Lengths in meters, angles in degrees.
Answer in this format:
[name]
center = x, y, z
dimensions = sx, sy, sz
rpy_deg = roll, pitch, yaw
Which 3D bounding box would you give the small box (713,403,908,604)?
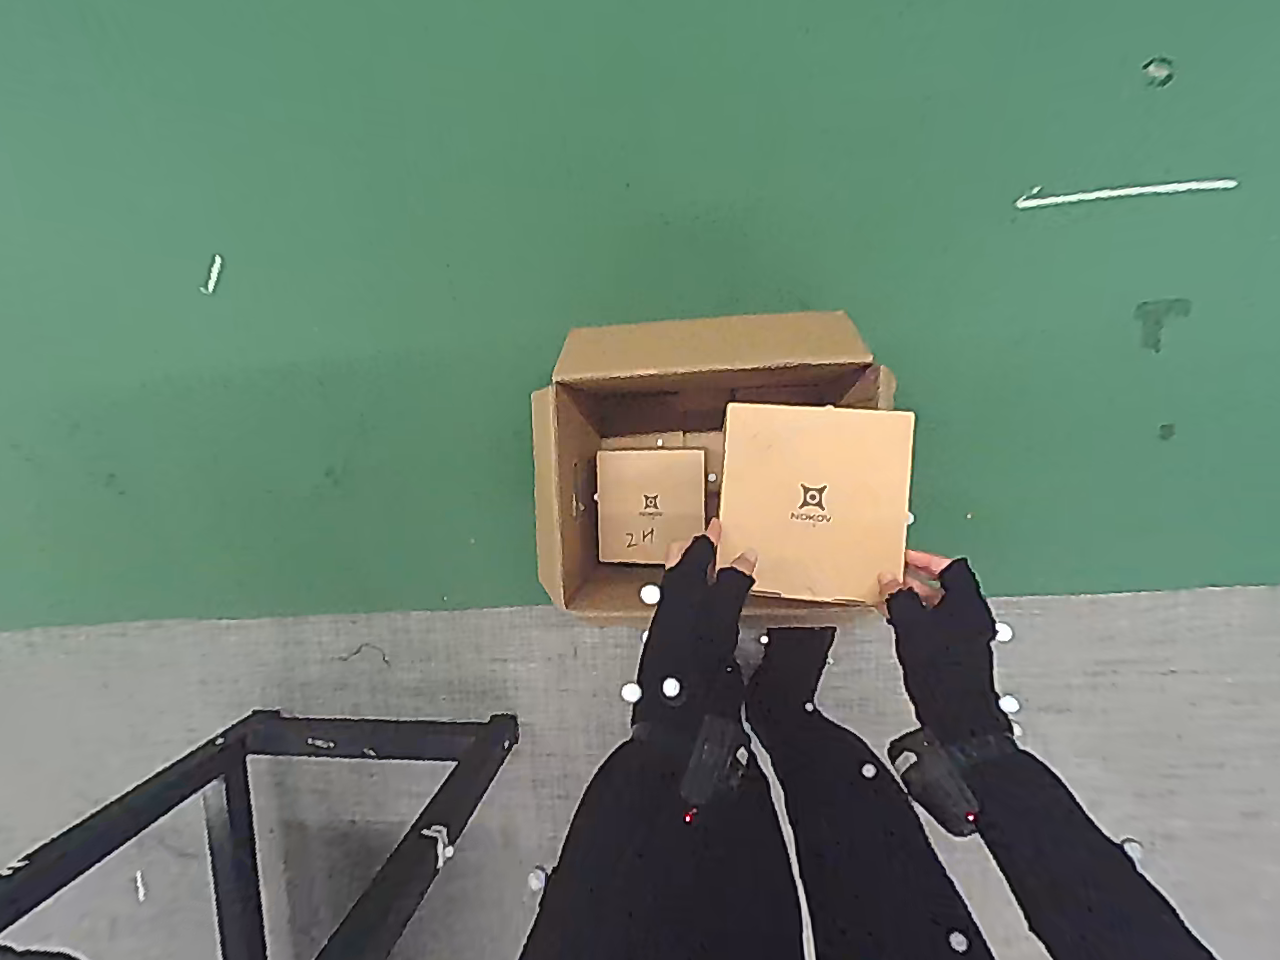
[small box]
center = 0.166, 0.022, 0.574
dimensions = 0.168, 0.176, 0.179
rpy_deg = 4, 89, 8
